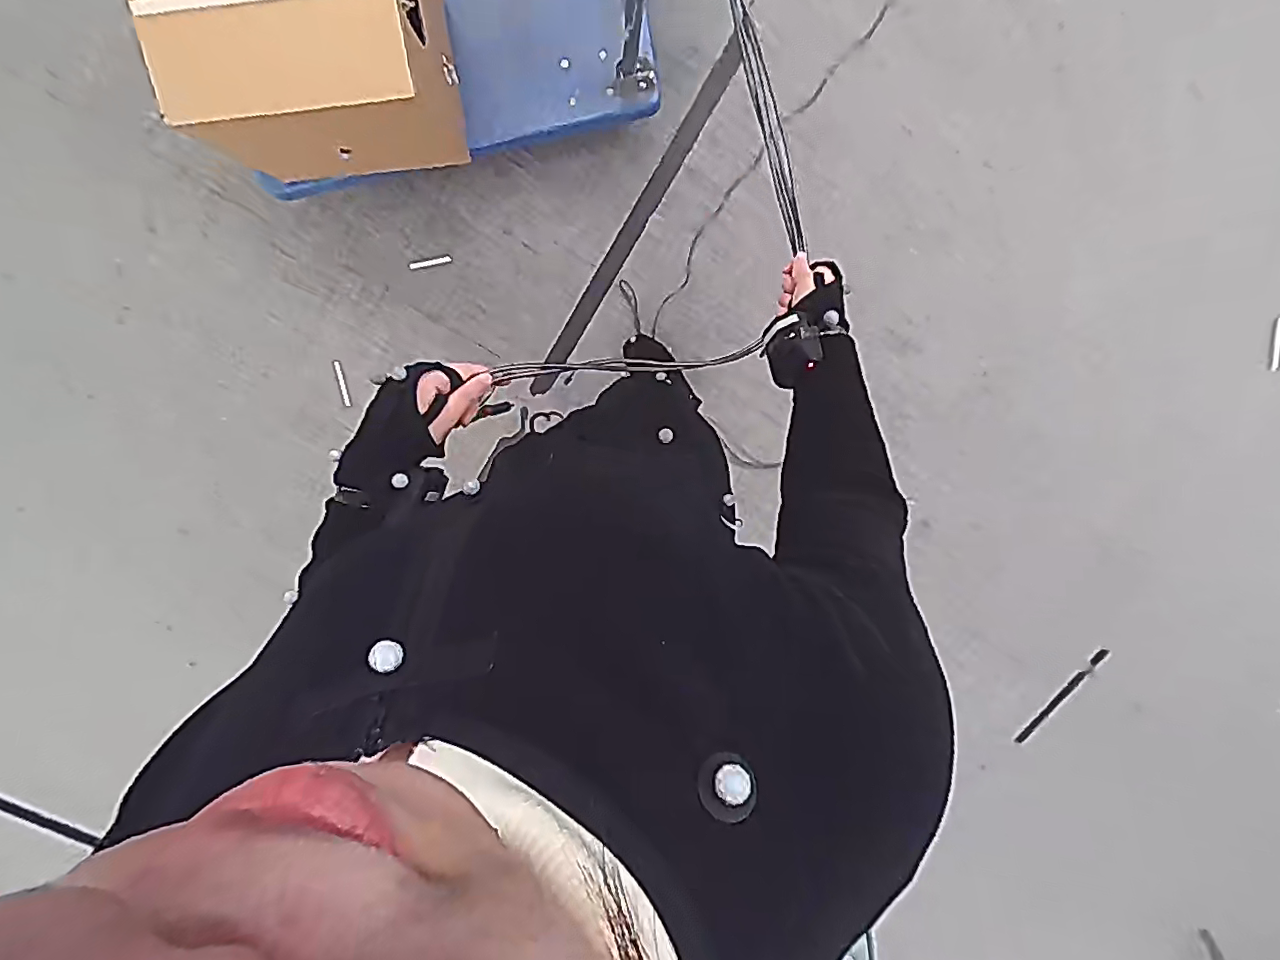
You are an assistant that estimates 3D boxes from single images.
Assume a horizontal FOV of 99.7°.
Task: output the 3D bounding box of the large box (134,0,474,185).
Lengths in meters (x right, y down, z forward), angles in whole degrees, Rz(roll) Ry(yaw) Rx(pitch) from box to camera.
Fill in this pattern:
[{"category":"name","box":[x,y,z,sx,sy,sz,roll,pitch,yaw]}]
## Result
[{"category":"large box","box":[-0.560,-0.755,0.960,0.408,0.320,0.320,-7,103,1]}]
